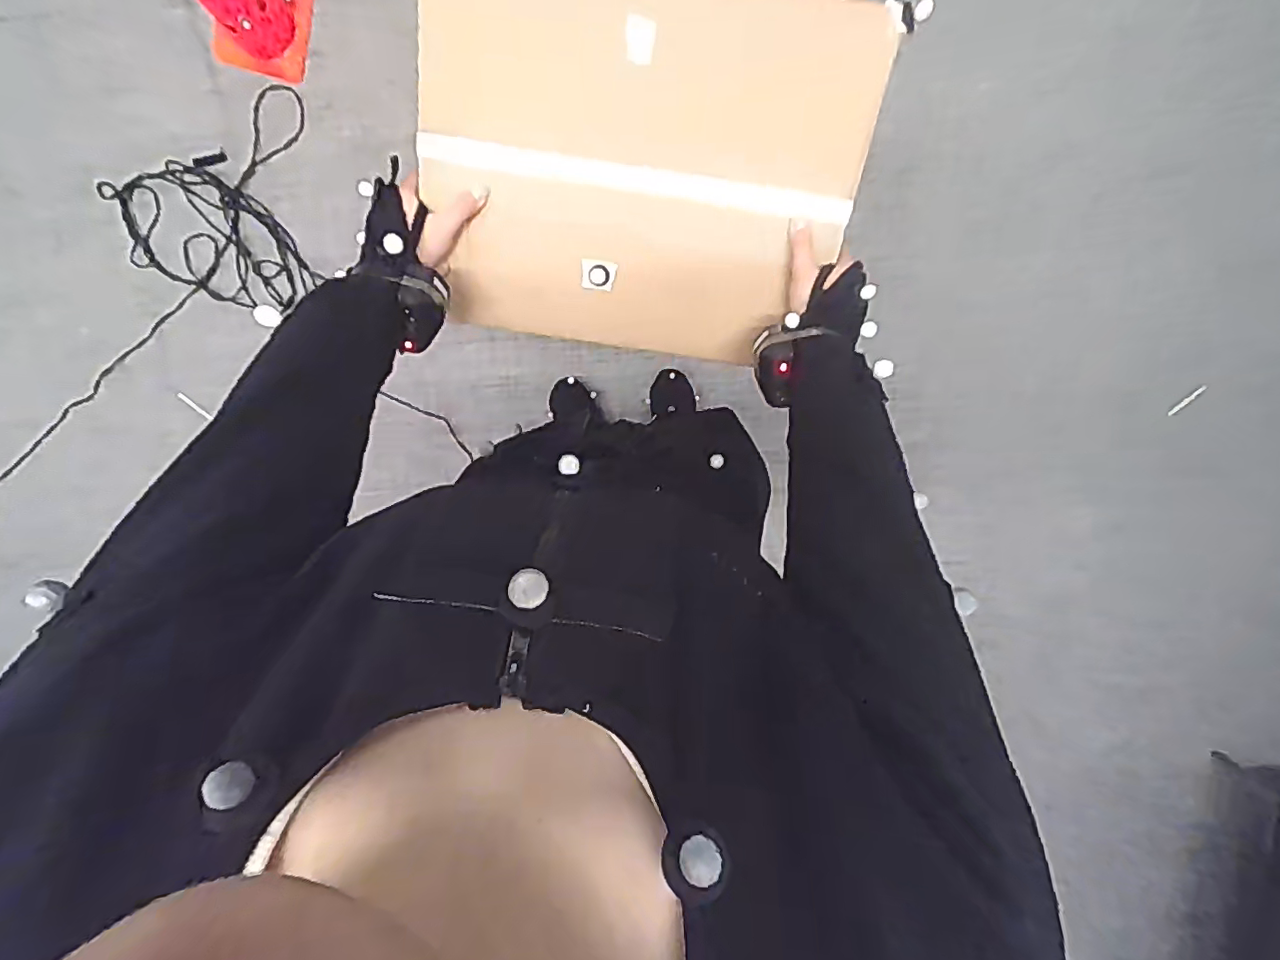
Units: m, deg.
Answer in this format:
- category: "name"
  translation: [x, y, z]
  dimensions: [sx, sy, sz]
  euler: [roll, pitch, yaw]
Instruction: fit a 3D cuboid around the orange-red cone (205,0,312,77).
- category: "orange-red cone"
  translation: [-0.823, -0.962, 0.992]
  dimensions: [0.199, 0.360, 0.198]
  euler: [18, 100, 0]
